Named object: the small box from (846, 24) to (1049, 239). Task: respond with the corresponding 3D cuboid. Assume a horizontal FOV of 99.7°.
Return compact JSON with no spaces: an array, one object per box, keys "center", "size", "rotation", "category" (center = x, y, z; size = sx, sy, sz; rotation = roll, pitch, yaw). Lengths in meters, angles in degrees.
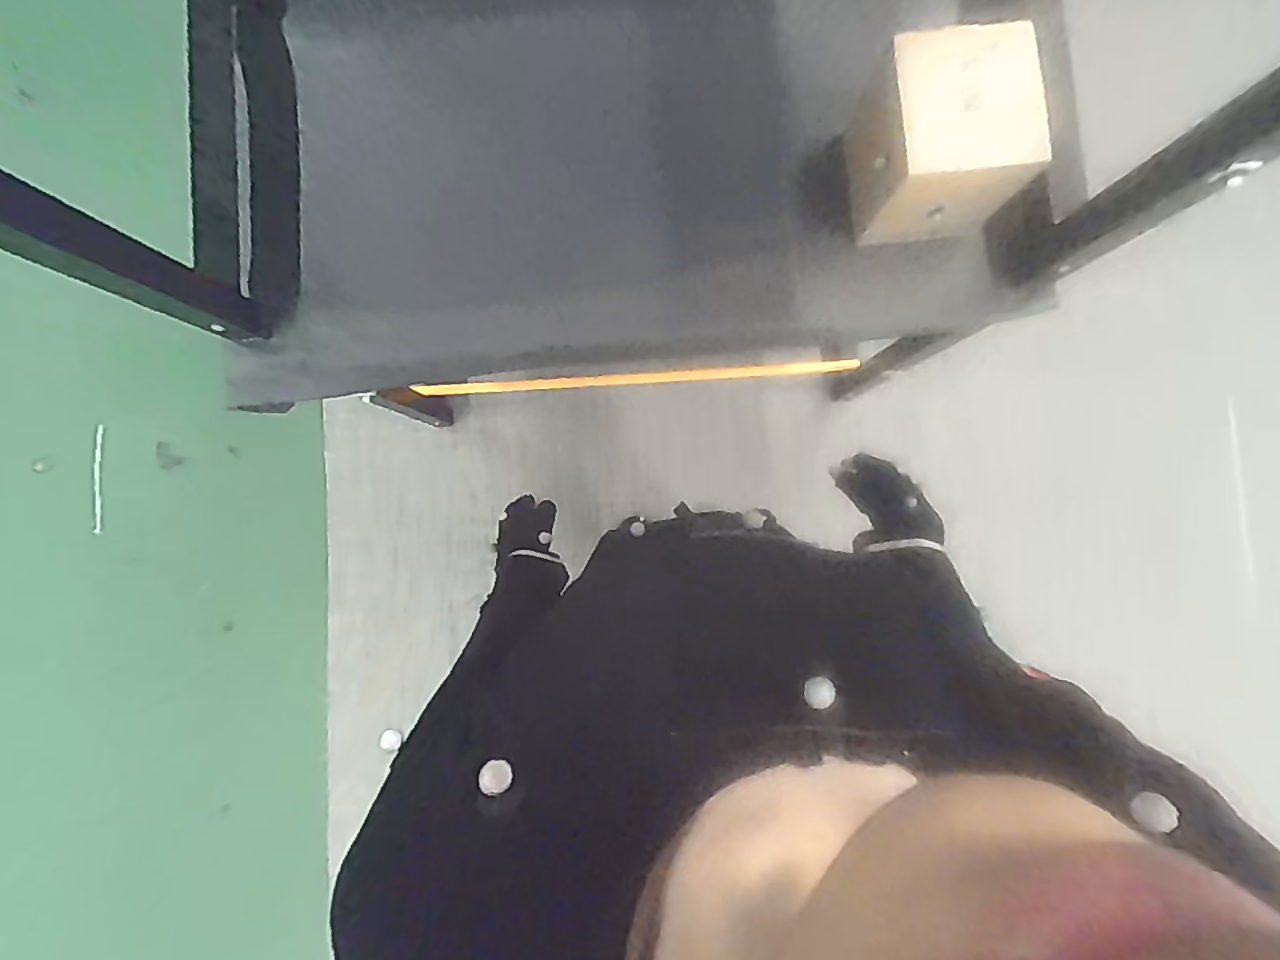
[{"center":[0.386,-0.436,0.709],"size":[0.168,0.176,0.179],"rotation":[-5,86,1],"category":"small box"}]
